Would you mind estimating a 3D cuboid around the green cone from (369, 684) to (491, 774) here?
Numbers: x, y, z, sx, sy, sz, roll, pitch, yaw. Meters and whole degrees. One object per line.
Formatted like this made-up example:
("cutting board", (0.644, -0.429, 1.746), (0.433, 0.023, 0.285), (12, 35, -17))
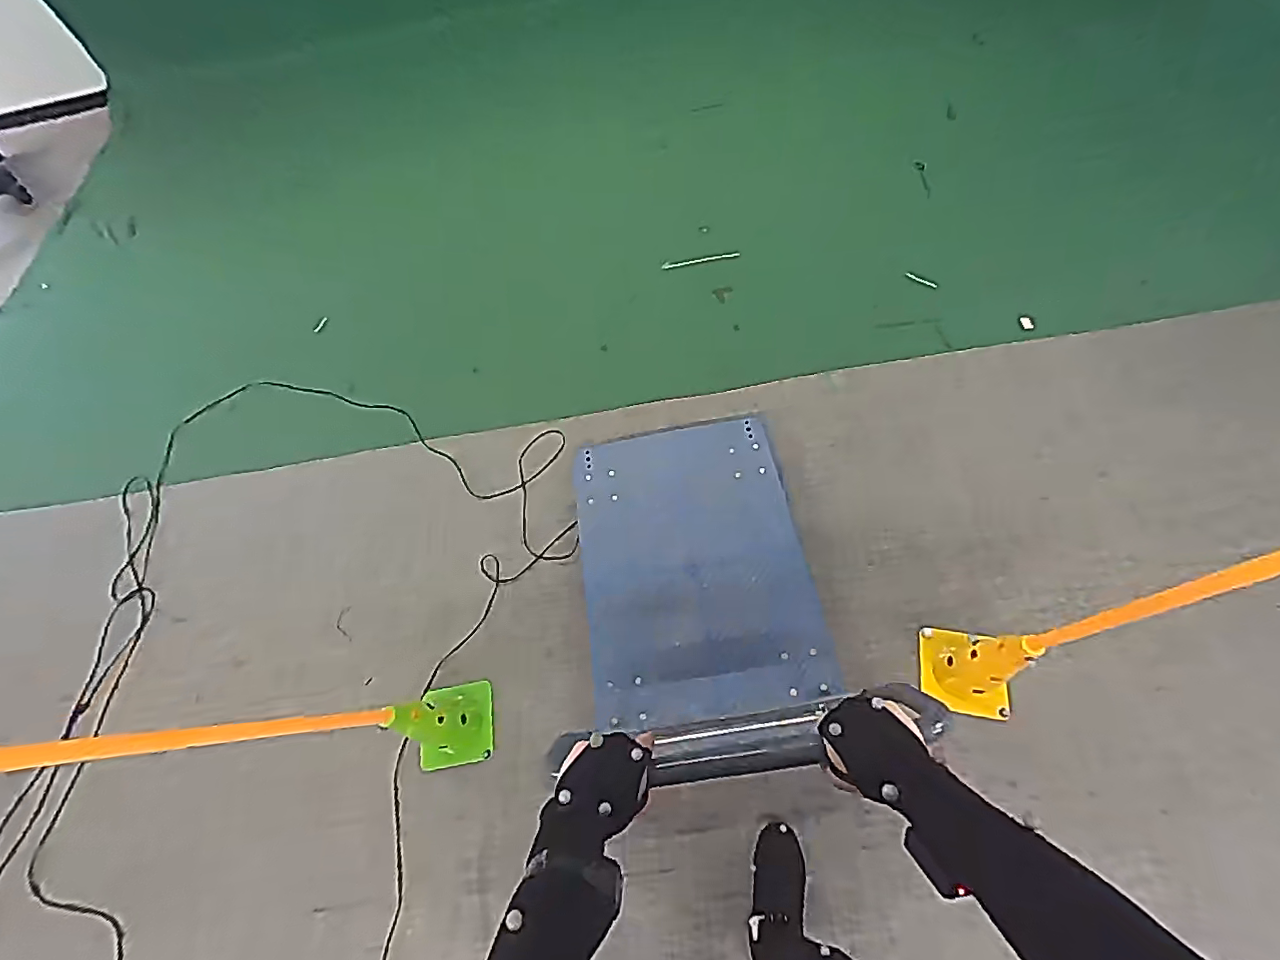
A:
("green cone", (-0.527, 0.589, 1.308), (0.202, 0.368, 0.200), (-13, 61, 4))
